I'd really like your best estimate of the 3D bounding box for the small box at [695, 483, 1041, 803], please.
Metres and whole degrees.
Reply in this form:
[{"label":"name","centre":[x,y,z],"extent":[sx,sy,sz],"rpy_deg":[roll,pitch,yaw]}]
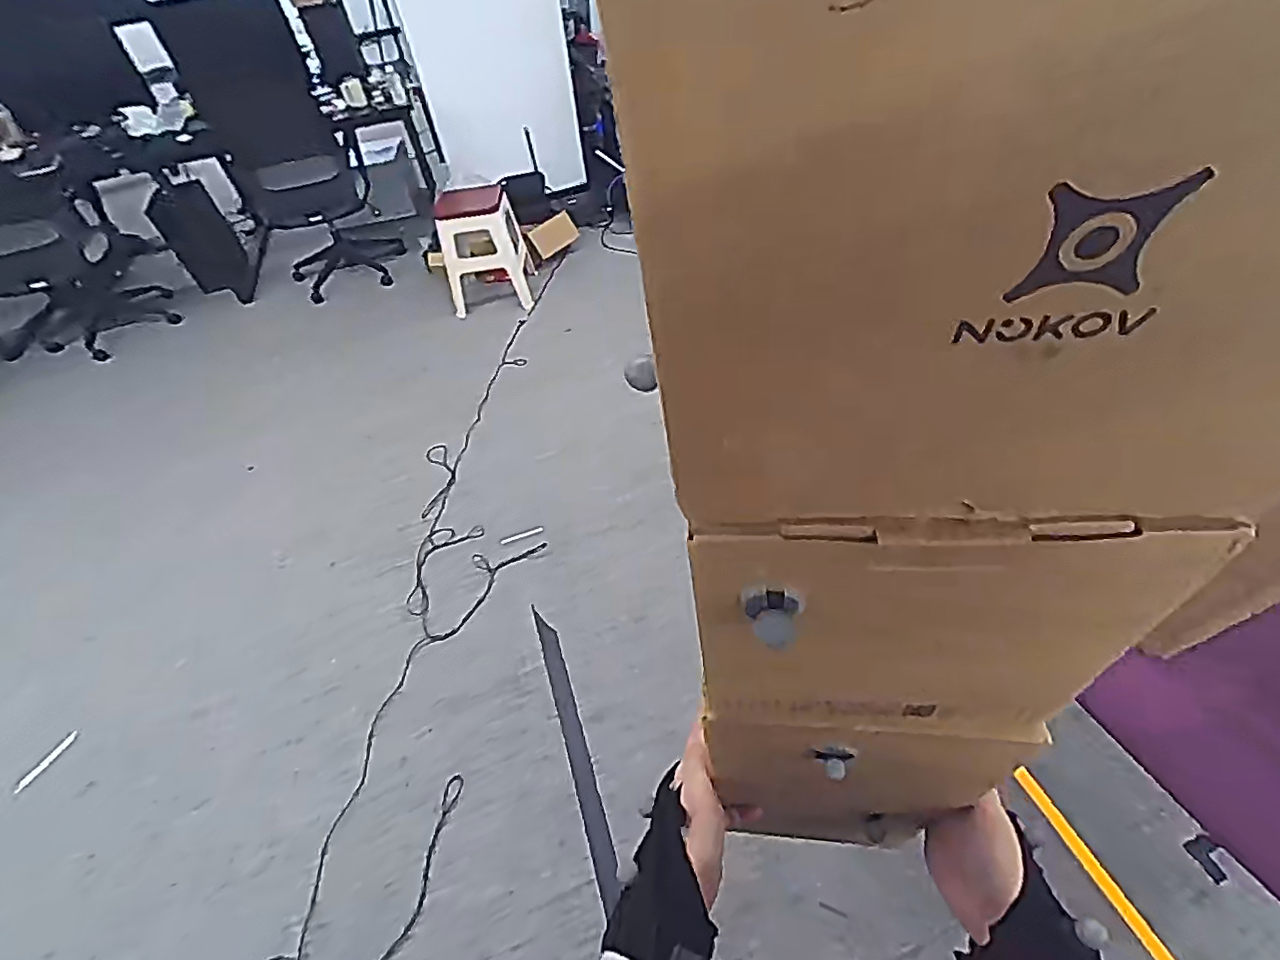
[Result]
[{"label":"small box","centre":[0.136,0.119,0.393],"extent":[0.179,0.176,0.168],"rpy_deg":[0,48,10]}]
